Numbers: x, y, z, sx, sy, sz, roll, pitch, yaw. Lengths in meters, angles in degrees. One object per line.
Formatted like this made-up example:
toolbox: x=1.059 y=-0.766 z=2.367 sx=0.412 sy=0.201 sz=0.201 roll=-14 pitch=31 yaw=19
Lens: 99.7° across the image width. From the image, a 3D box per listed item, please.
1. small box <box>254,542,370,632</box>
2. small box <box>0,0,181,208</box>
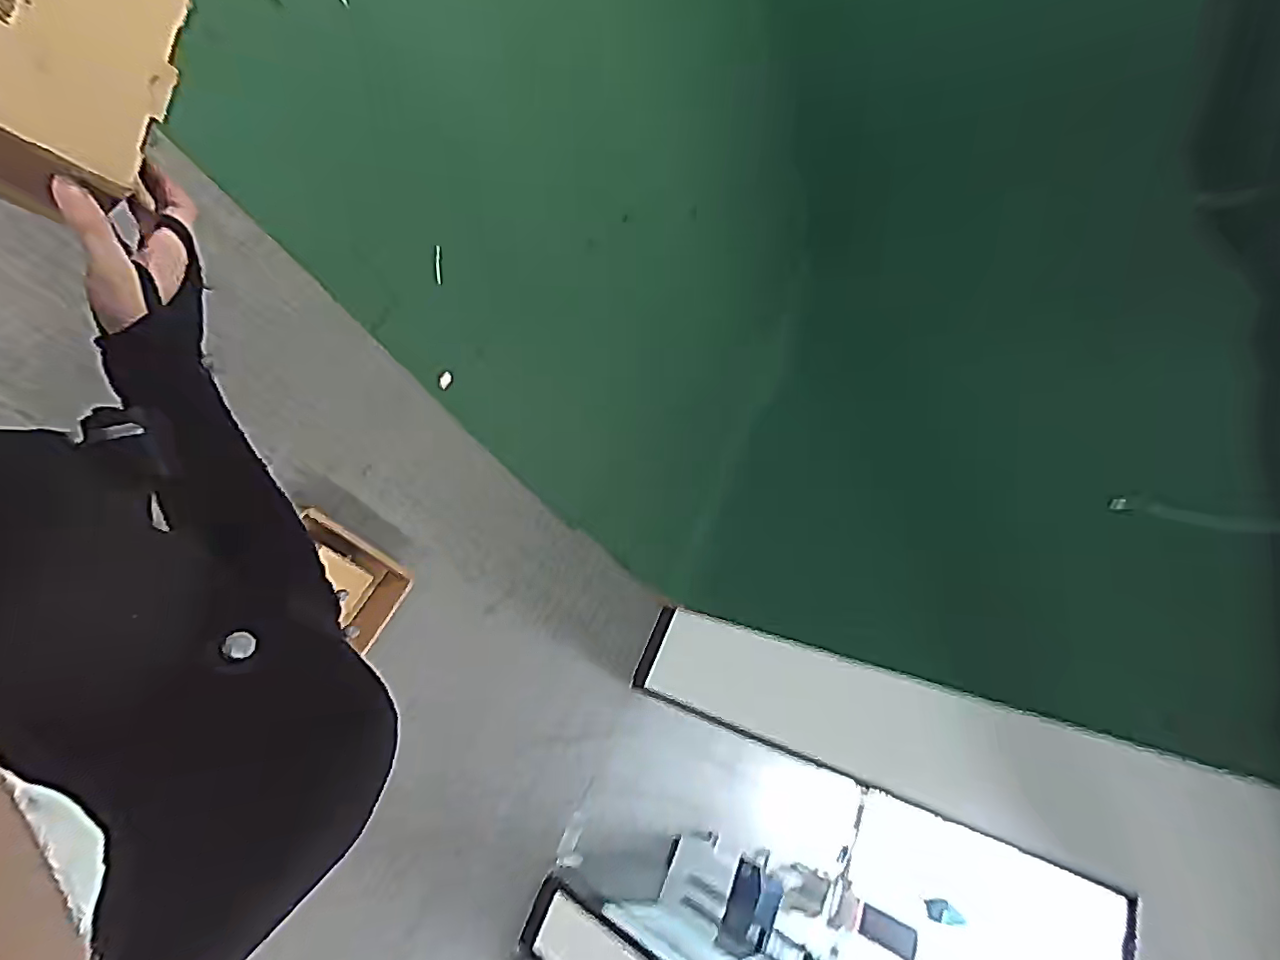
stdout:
small box: x=-0.880 y=0.280 z=1.448 sx=0.168 sy=0.176 sz=0.179 roll=-61 pitch=140 yaw=-25
small box: x=-0.468 y=-0.313 z=0.368 sx=0.179 sy=0.176 sz=0.168 roll=19 pitch=78 yaw=-55
